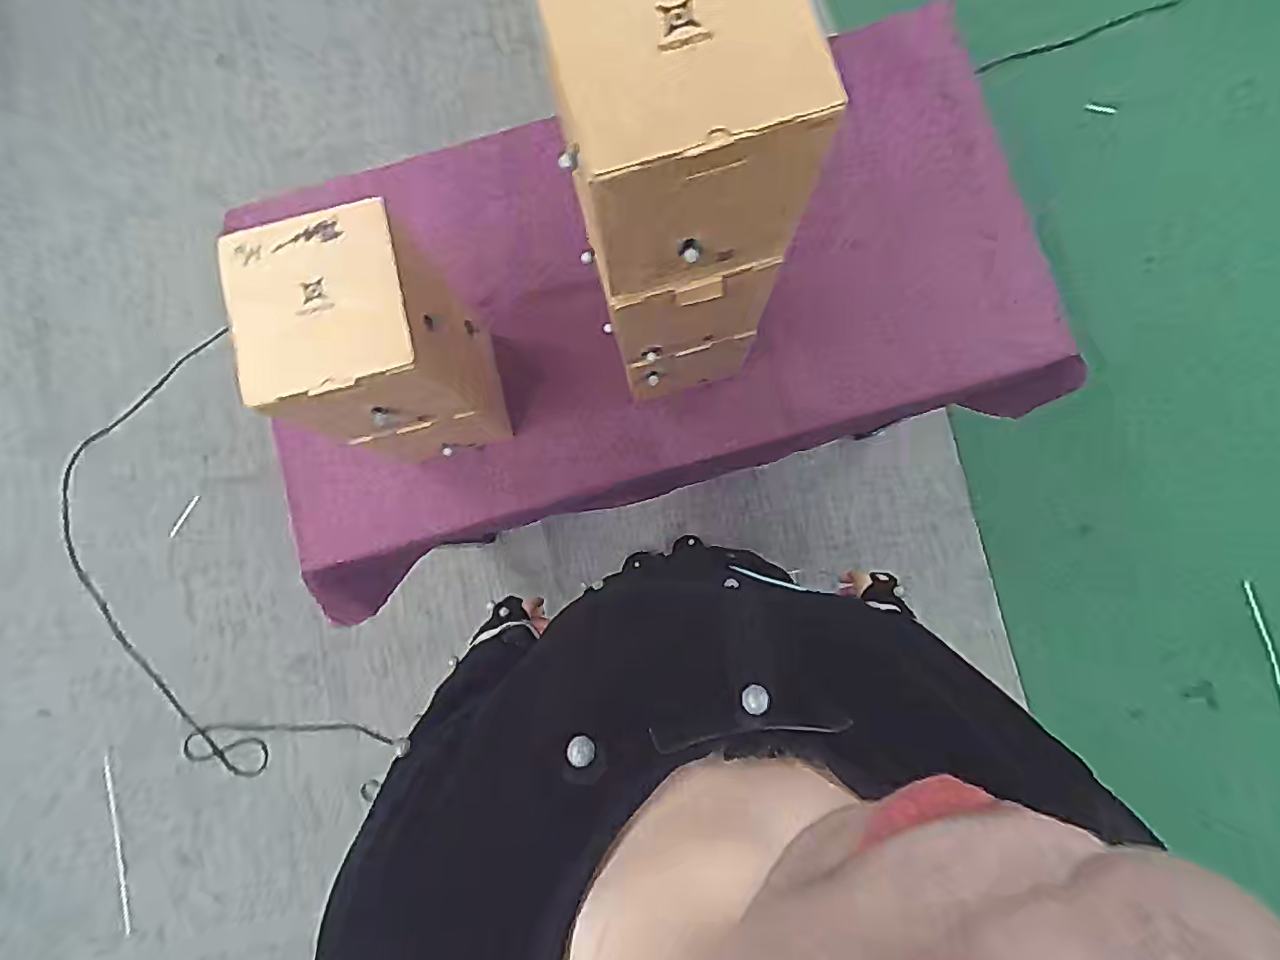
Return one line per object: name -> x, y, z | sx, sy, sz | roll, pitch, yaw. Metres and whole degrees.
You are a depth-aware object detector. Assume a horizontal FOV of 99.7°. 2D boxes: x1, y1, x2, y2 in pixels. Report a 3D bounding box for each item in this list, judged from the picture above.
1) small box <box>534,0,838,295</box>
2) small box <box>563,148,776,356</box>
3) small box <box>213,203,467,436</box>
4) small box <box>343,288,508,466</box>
small box -> 0.024, -0.279, 0.424 | 0.168, 0.176, 0.179 | -17, 83, 0
small box -> 0.030, -0.250, 0.584 | 0.168, 0.176, 0.179 | -16, 82, 0
small box -> -0.304, -0.153, 0.584 | 0.168, 0.176, 0.179 | -15, 83, 0
small box -> -0.297, -0.131, 0.748 | 0.168, 0.176, 0.179 | -15, 83, 1
